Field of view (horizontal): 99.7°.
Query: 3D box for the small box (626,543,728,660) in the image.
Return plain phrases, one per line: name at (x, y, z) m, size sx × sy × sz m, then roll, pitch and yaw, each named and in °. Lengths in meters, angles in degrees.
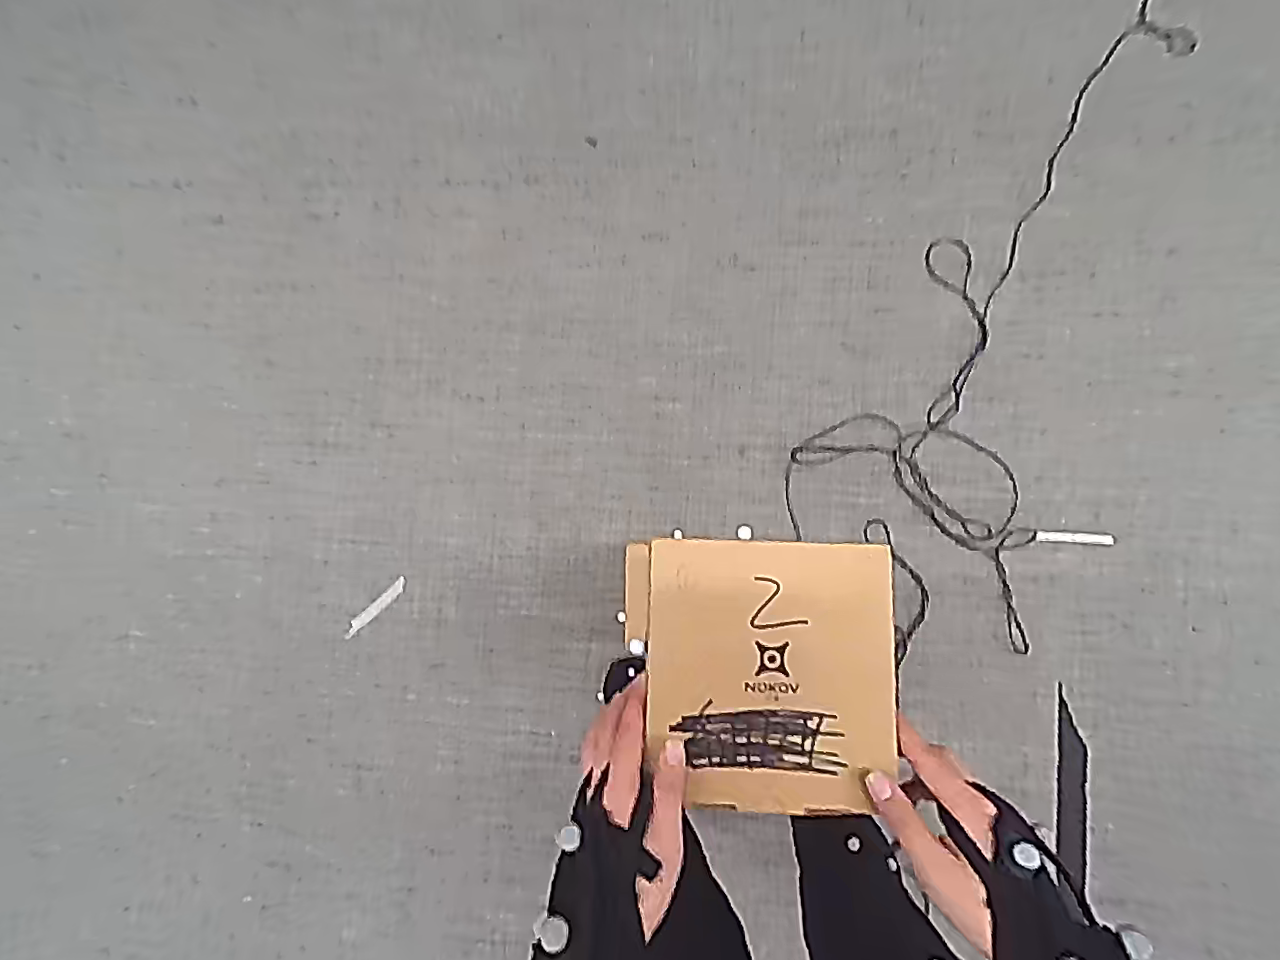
small box at (0.069, 0.205, 0.957) m, size 0.168 × 0.176 × 0.179 m, roll 0°, pitch 86°, yaw 5°
